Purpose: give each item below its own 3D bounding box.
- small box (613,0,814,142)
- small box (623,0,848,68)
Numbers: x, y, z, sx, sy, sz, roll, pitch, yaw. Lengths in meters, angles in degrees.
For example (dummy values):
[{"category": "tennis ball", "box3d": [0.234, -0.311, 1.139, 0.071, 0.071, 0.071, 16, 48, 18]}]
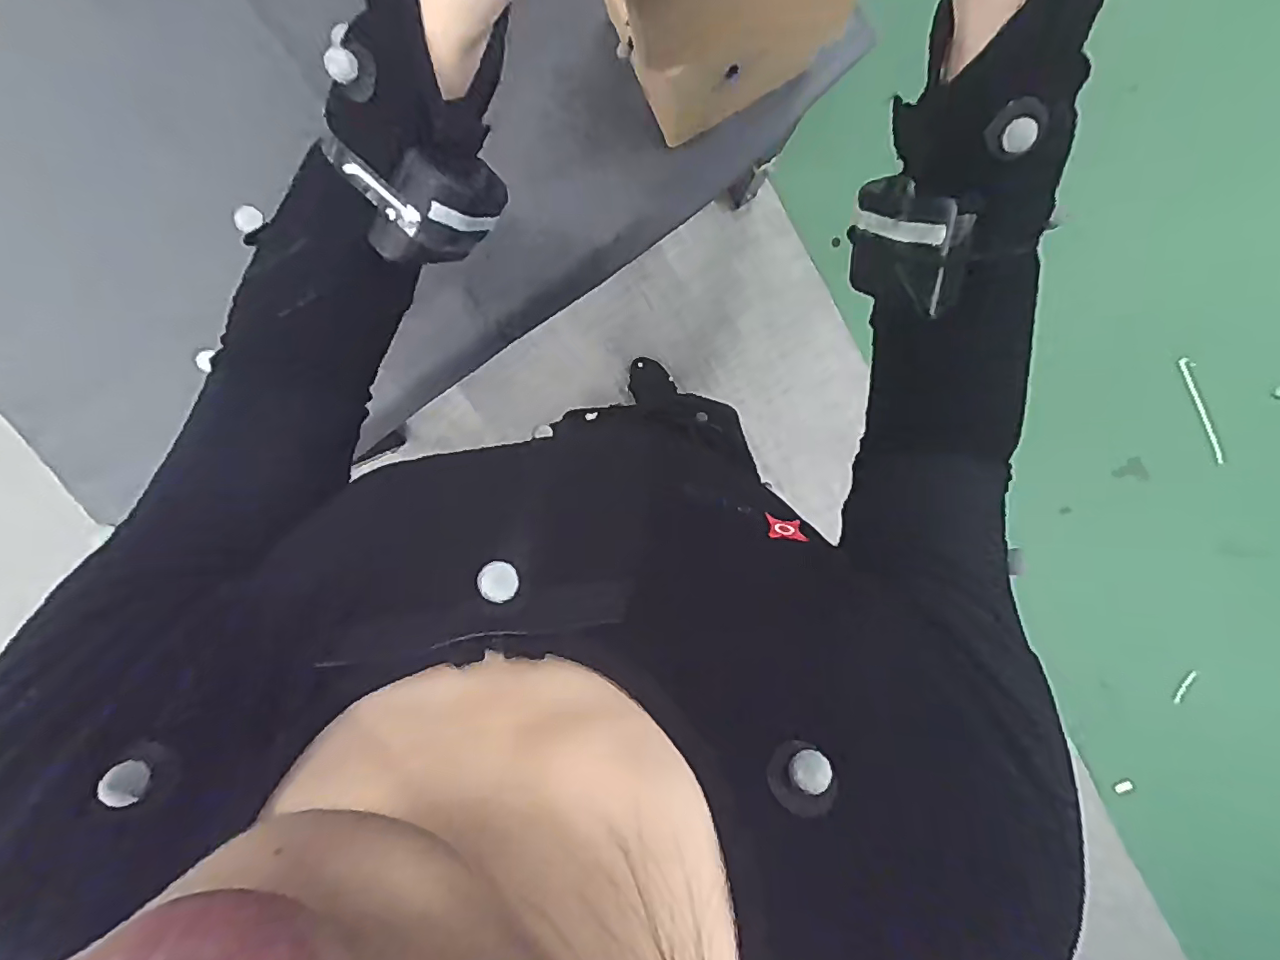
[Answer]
[{"category": "small box", "box3d": [0.071, -0.472, 0.524, 0.179, 0.176, 0.168, -25, 100, 12]}, {"category": "small box", "box3d": [0.066, -0.420, 0.368, 0.179, 0.176, 0.168, -5, 103, 6]}]
